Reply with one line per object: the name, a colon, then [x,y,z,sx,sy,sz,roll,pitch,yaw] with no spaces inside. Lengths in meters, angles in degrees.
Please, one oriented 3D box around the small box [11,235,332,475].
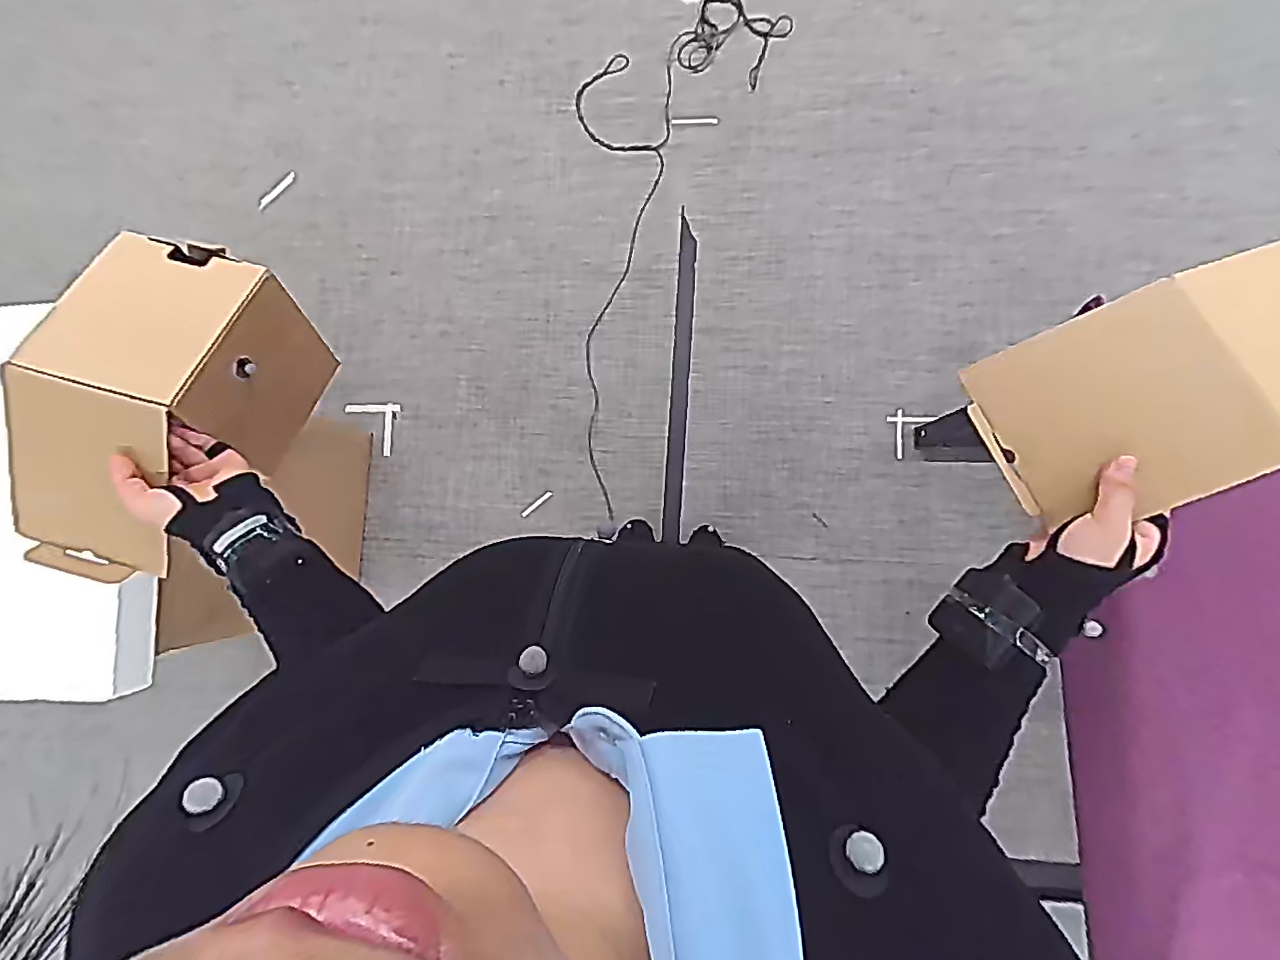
small box: [-0.483,-0.127,0.597,0.168,0.176,0.179,15,65,2]
